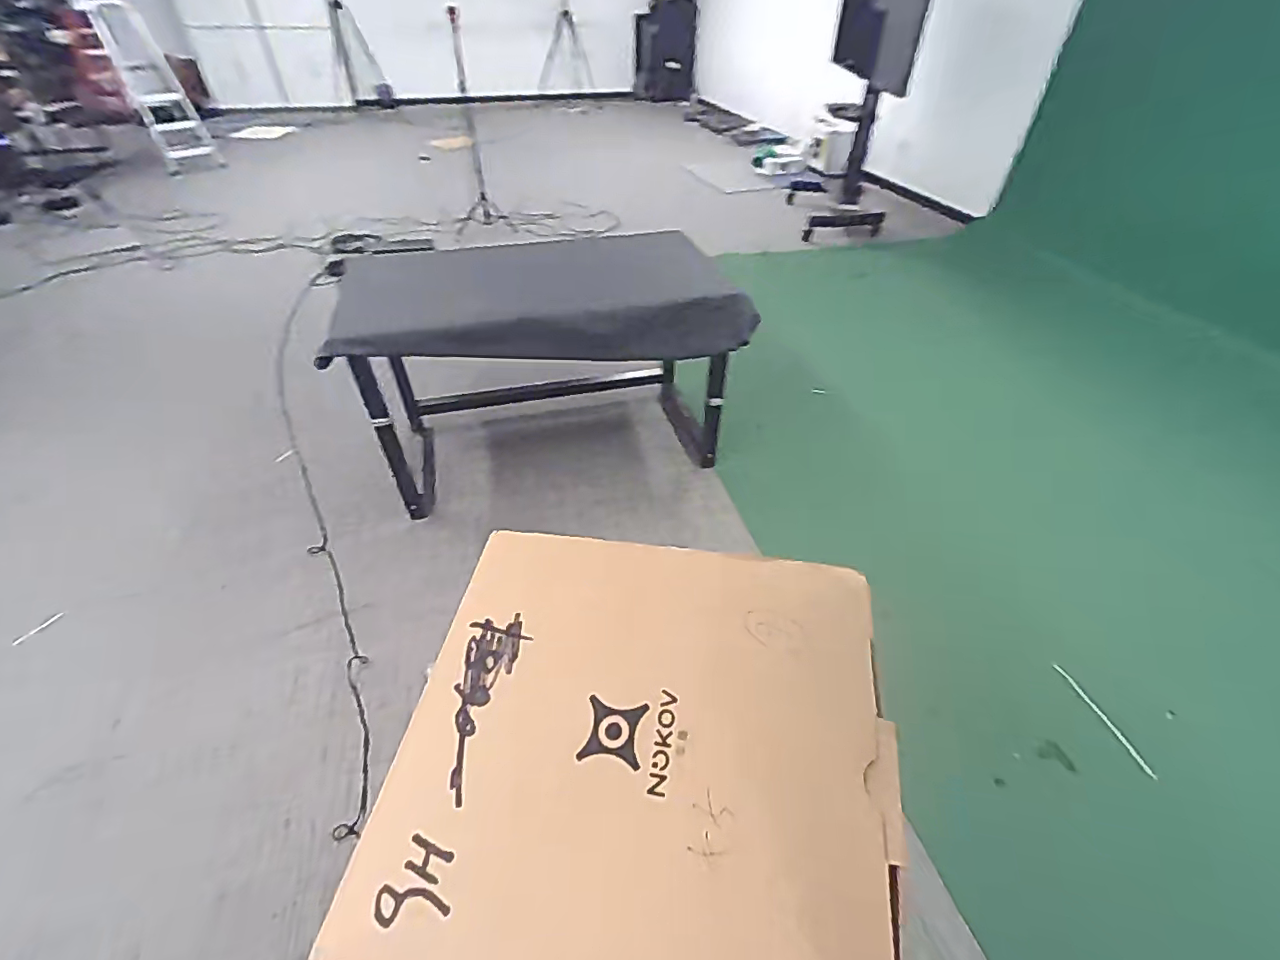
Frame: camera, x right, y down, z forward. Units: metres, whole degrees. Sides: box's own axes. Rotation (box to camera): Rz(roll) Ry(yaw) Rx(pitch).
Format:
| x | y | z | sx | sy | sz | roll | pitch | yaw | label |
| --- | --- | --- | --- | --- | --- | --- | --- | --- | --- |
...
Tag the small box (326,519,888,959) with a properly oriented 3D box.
| x | y | z | sx | sy | sz | roll | pitch | yaw | label |
| --- | --- | --- | --- | --- | --- | --- | --- | --- | --- |
| 0.002 | 0.142 | 0.269 | 0.179 | 0.176 | 0.168 | 6 | 50 | 9 | small box |
